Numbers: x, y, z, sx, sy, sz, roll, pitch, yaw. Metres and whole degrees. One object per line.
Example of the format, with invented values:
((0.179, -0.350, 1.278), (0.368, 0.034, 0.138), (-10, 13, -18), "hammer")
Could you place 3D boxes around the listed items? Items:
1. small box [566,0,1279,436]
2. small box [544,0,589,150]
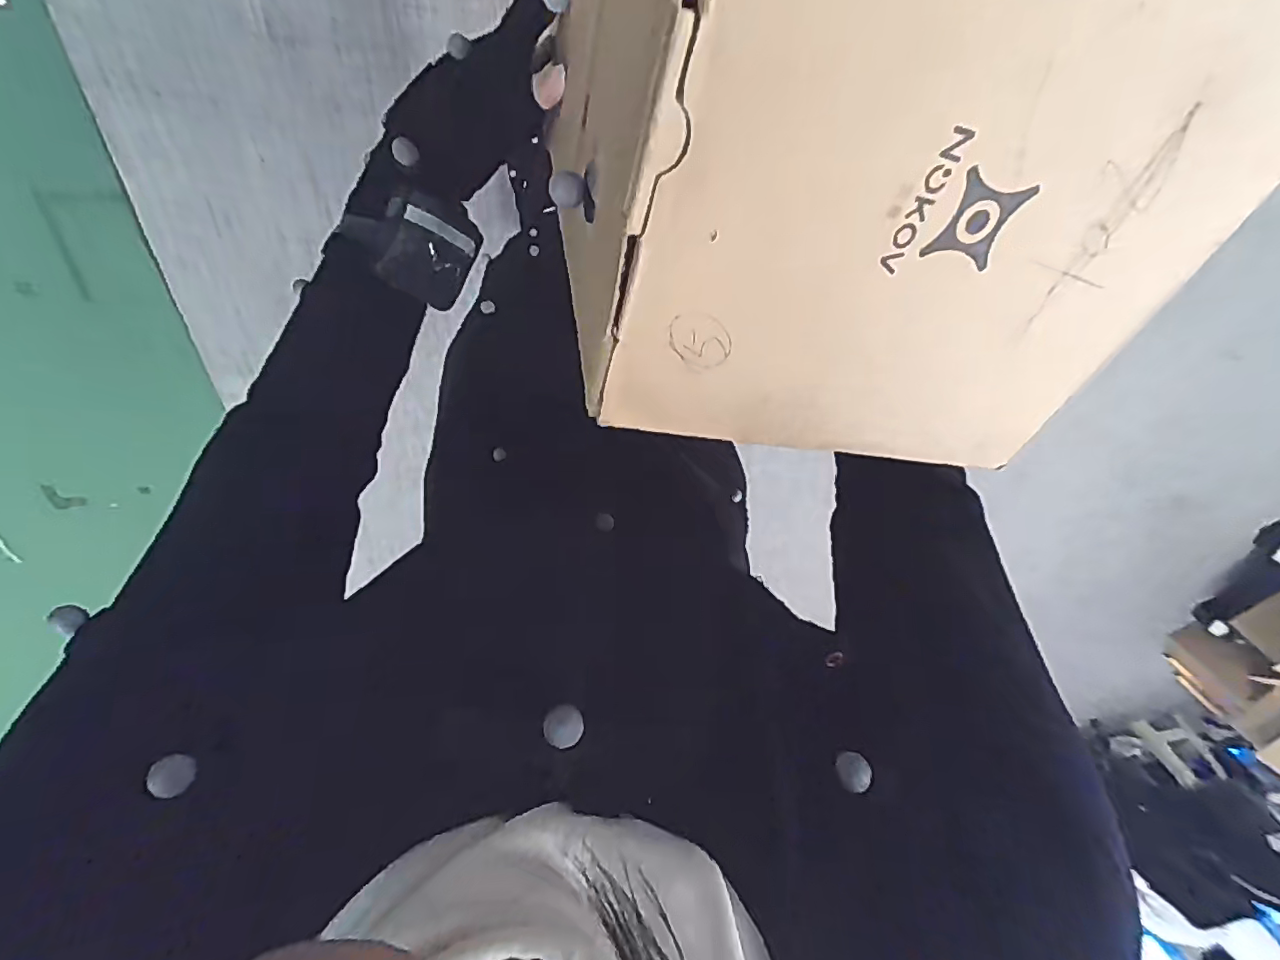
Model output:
((0.070, -0.137, 0.198), (0.179, 0.176, 0.168), (3, 135, -15), "small box")
((0.017, -0.365, 0.426), (0.168, 0.176, 0.179), (4, 134, -15), "small box")
